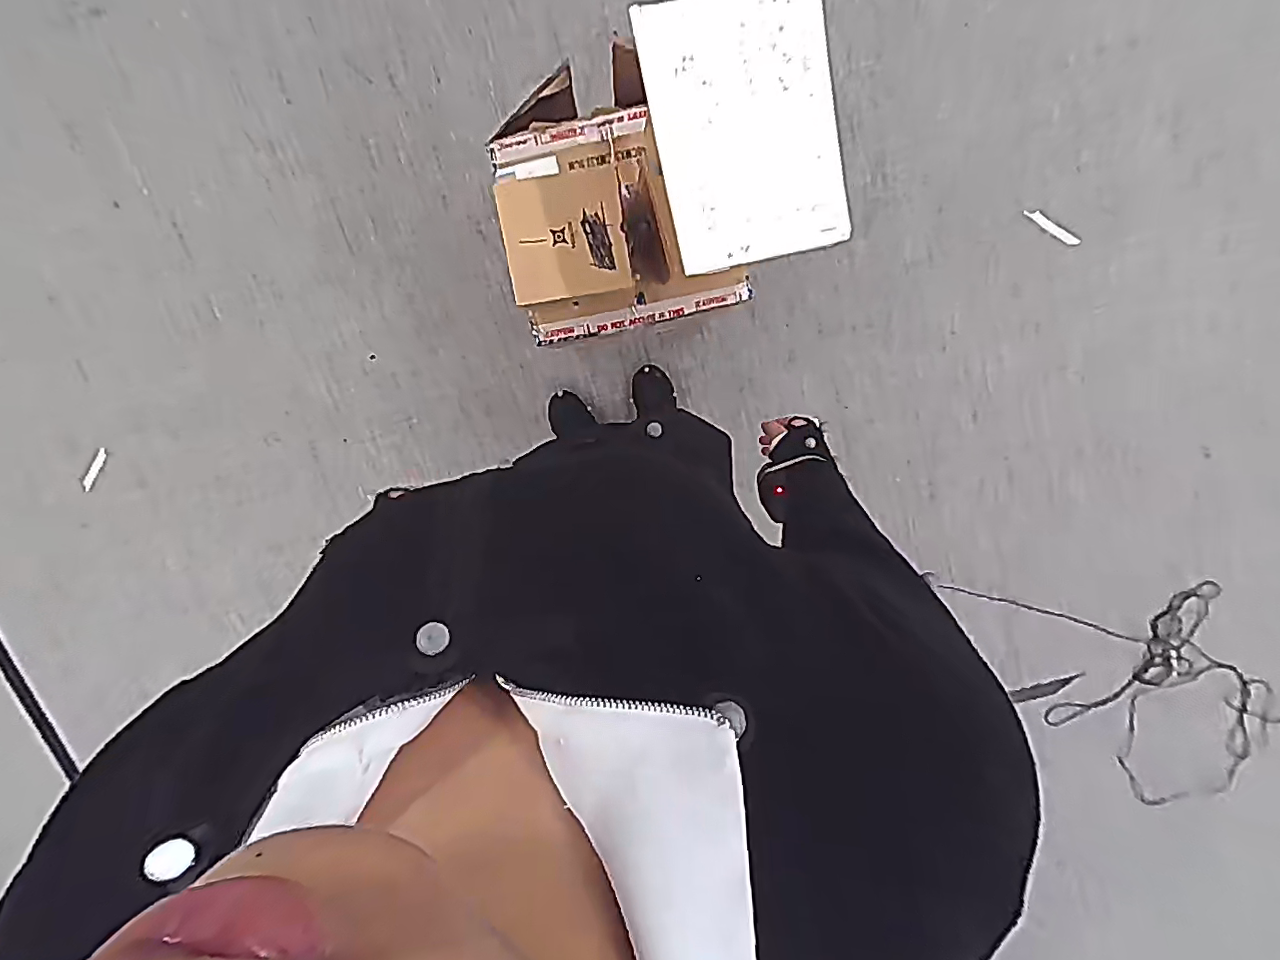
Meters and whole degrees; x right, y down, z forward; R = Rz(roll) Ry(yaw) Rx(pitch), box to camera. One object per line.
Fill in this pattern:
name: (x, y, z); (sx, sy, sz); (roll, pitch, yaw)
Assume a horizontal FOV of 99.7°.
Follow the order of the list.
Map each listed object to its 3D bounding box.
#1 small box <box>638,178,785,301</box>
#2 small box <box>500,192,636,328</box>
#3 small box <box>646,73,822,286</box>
small box: (0.105, -0.395, 0.855); (0.179, 0.176, 0.168); (-17, 103, 1)
small box: (-0.105, -0.339, 0.861); (0.179, 0.176, 0.168); (-9, 104, 1)
small box: (0.109, -0.367, 0.695); (0.168, 0.176, 0.179); (-16, 103, 0)
